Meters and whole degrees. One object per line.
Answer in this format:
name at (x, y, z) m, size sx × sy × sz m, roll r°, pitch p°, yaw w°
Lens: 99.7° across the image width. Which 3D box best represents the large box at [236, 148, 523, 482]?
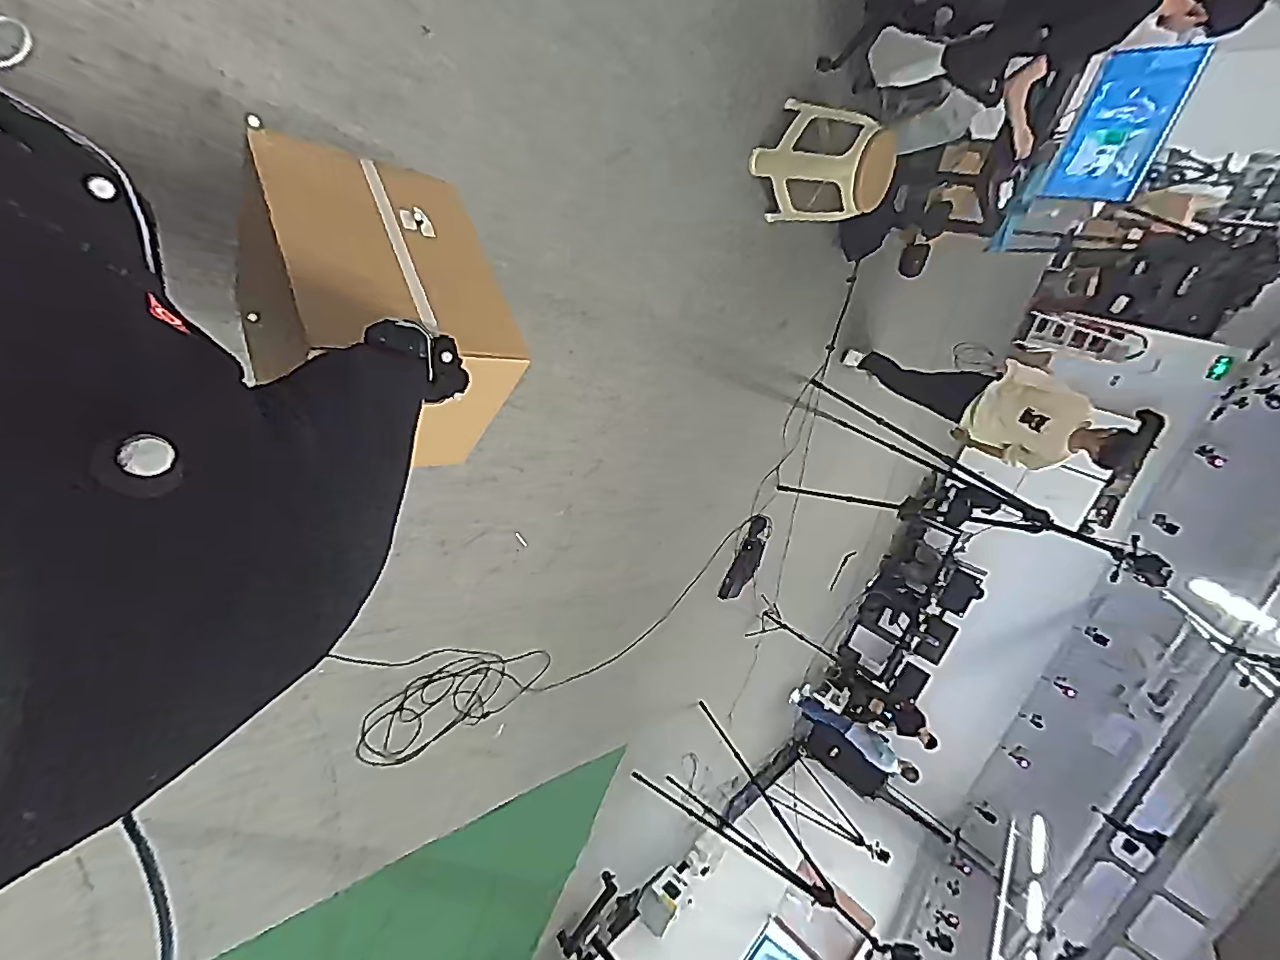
large box at (-0.460, -0.255, 0.923) m, size 0.320 × 0.408 × 0.320 m, roll -8°, pitch 154°, yaw -44°
